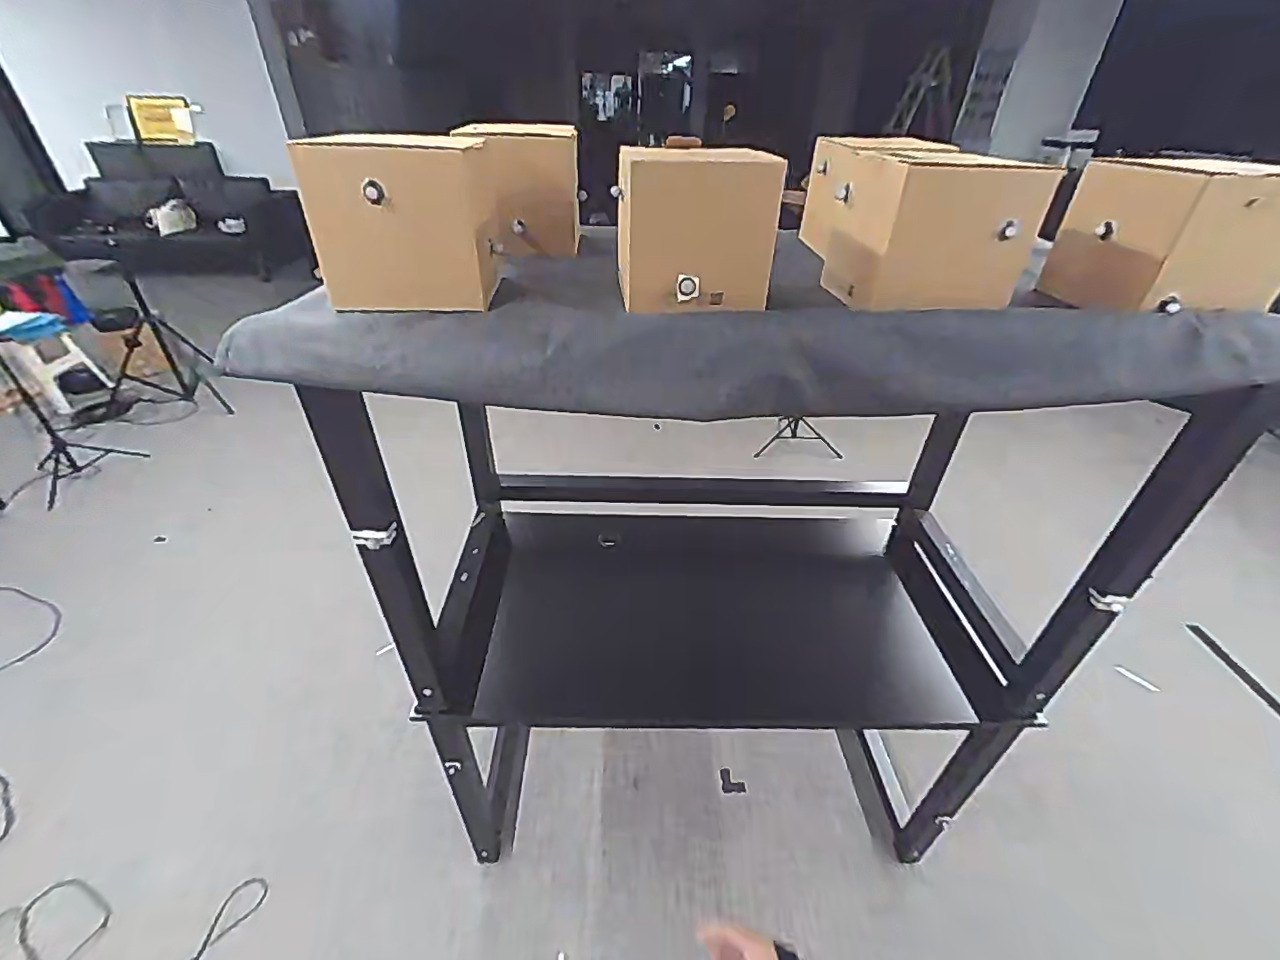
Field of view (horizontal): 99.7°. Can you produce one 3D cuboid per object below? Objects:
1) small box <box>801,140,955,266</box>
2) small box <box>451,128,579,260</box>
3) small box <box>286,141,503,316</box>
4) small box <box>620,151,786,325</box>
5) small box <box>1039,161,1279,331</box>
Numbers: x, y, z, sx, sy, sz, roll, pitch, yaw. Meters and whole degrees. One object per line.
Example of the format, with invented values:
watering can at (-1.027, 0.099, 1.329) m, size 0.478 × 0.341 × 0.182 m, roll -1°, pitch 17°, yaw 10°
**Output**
small box at (0.386, -0.467, 0.912) m, size 0.168 × 0.176 × 0.179 m, roll 0°, pitch 36°, yaw -2°
small box at (-0.191, -0.467, 0.885) m, size 0.179 × 0.176 × 0.168 m, roll 0°, pitch 36°, yaw -4°
small box at (-0.271, -0.302, 0.647) m, size 0.179 × 0.176 × 0.168 m, roll -1°, pitch 35°, yaw -5°
small box at (0.061, -0.298, 0.660) m, size 0.168 × 0.176 × 0.179 m, roll -3°, pitch 34°, yaw -5°
small box at (0.657, -0.292, 0.673) m, size 0.168 × 0.176 × 0.179 m, roll -1°, pitch 34°, yaw -3°
